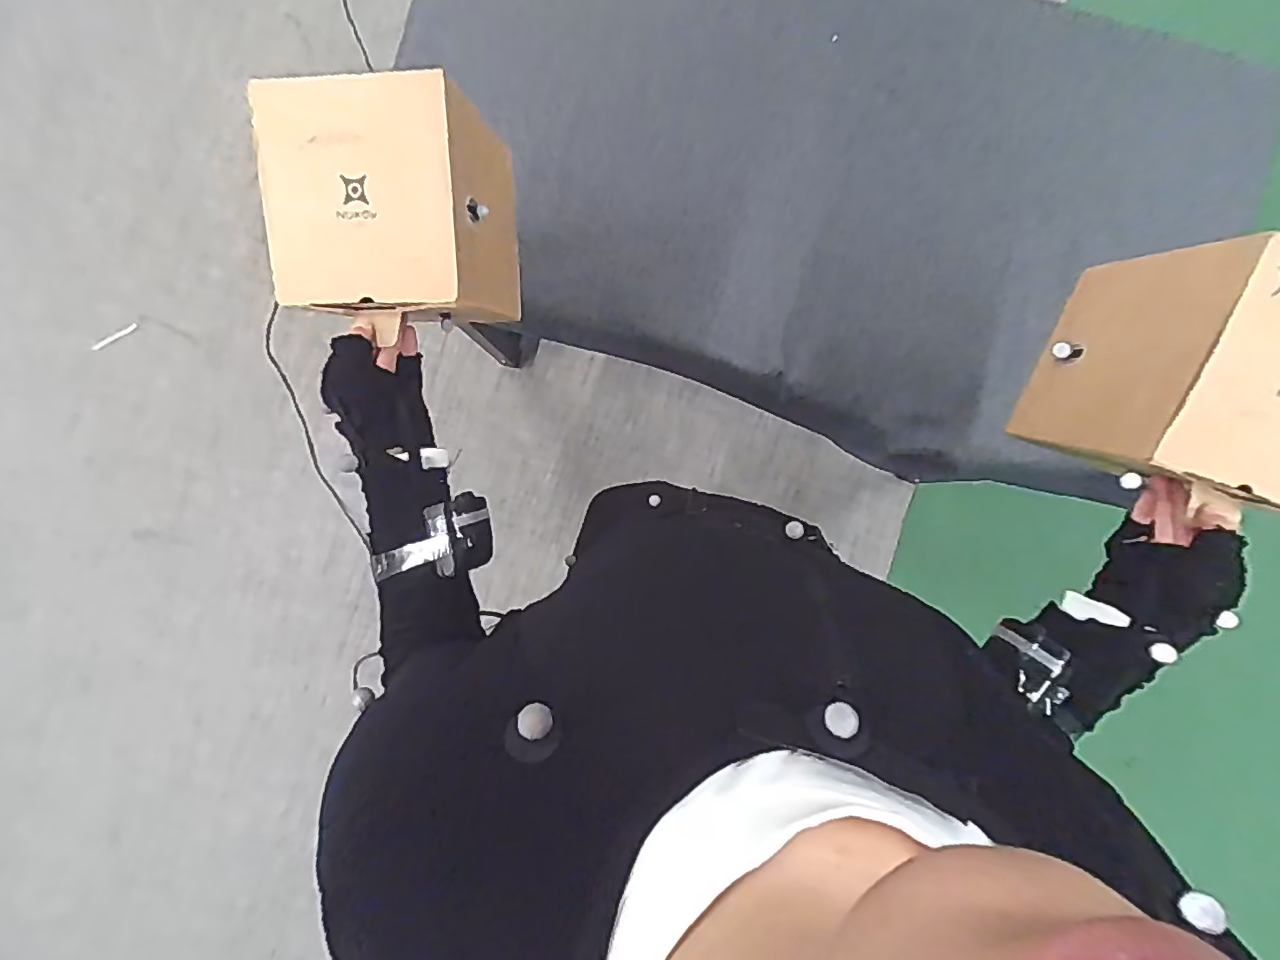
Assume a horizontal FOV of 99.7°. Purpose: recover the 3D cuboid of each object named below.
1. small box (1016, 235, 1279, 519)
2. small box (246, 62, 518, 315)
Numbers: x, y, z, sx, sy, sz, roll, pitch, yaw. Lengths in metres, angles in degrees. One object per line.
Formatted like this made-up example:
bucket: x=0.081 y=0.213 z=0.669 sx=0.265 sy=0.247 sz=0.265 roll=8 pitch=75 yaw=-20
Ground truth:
small box: x=0.487 y=-0.087 z=0.481 sx=0.168 sy=0.176 sz=0.179 roll=18 pitch=103 yaw=-5
small box: x=-0.220 y=-0.251 z=0.512 sx=0.168 sy=0.176 sz=0.179 roll=1 pitch=102 yaw=5
